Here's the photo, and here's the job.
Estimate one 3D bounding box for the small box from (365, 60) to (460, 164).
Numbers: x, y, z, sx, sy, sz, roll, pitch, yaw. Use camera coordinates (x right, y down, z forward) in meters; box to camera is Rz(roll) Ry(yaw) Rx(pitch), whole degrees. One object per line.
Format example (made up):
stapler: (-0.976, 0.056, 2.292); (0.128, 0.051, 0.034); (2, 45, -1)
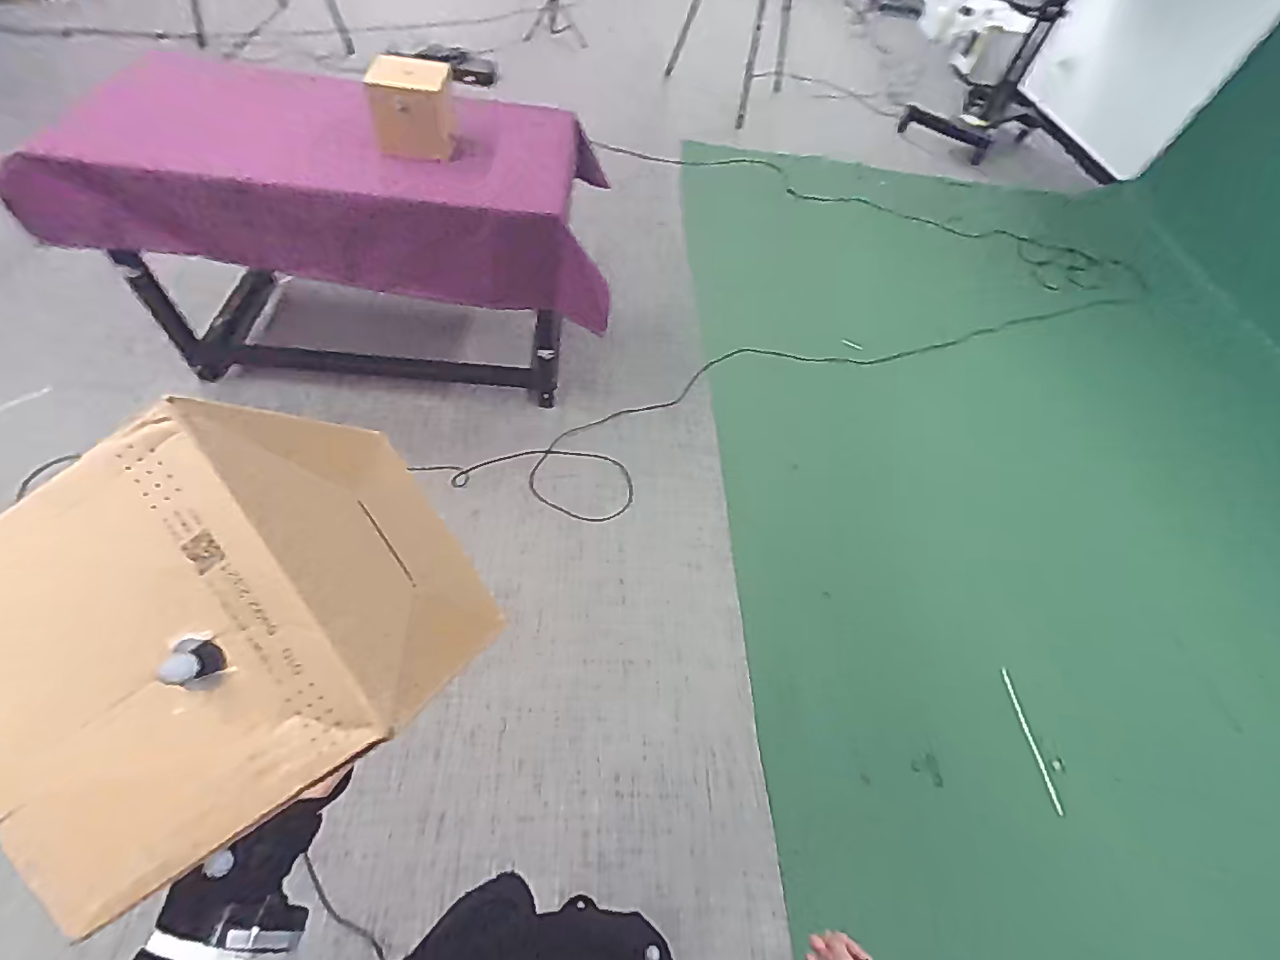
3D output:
small box: (-0.577, -0.947, 1.398); (0.179, 0.176, 0.168); (4, 55, -7)

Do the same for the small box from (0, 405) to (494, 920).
small box: (-0.211, 0.077, 0.312); (0.176, 0.179, 0.168); (-35, 88, 1)
